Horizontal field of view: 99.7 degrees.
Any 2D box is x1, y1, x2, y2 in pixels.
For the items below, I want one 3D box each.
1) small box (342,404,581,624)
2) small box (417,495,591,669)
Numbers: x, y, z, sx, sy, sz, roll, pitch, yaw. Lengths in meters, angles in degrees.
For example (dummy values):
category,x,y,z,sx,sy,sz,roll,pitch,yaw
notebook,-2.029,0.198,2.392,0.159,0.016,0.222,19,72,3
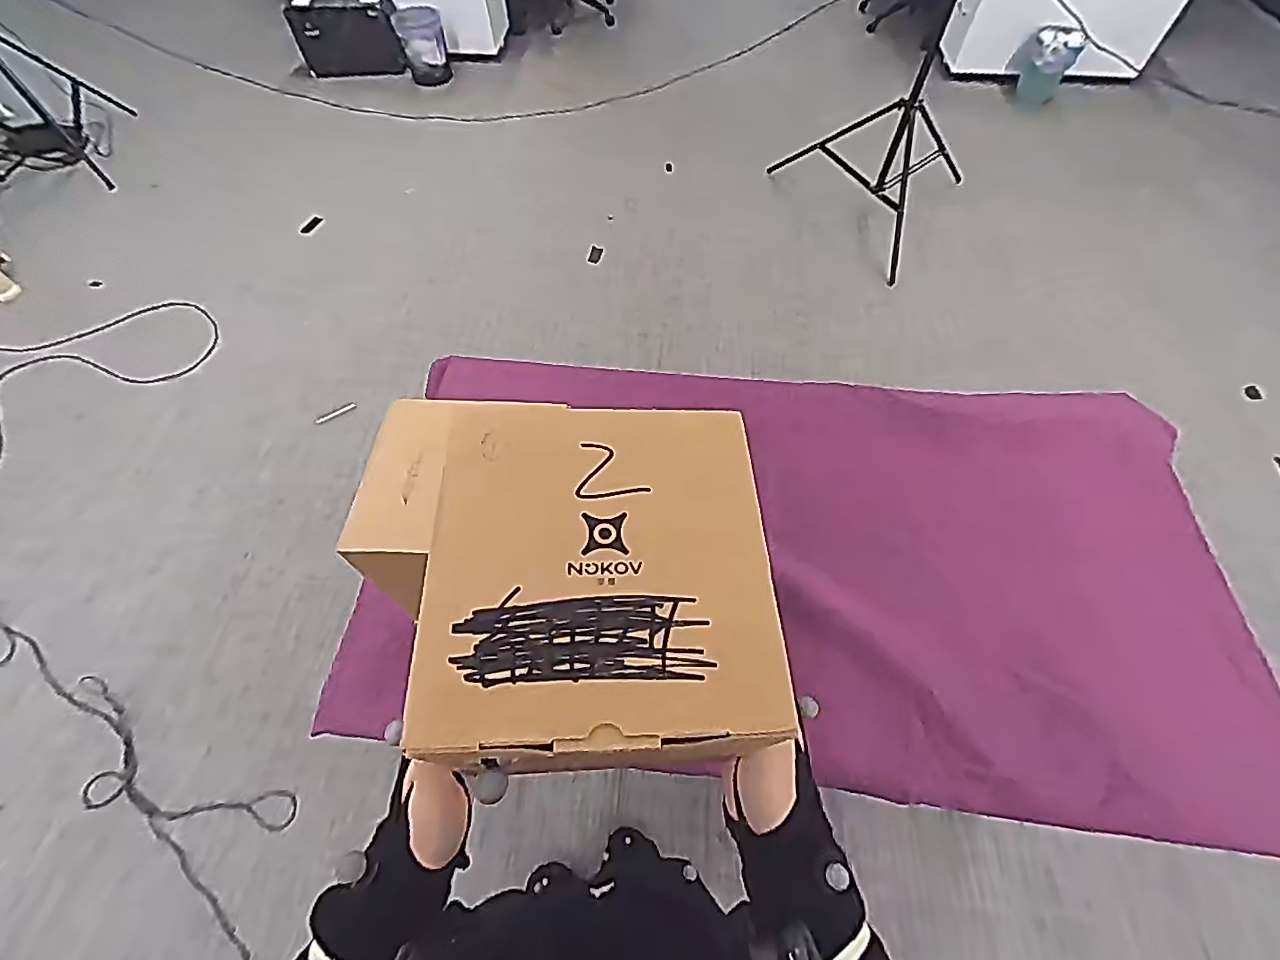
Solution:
category,x,y,z,sx,sy,sz,roll,pitch,yaw
small box,-0.157,0.040,0.552,0.179,0.176,0.168,0,57,1
small box,-0.156,0.128,0.688,0.168,0.176,0.179,2,58,2
